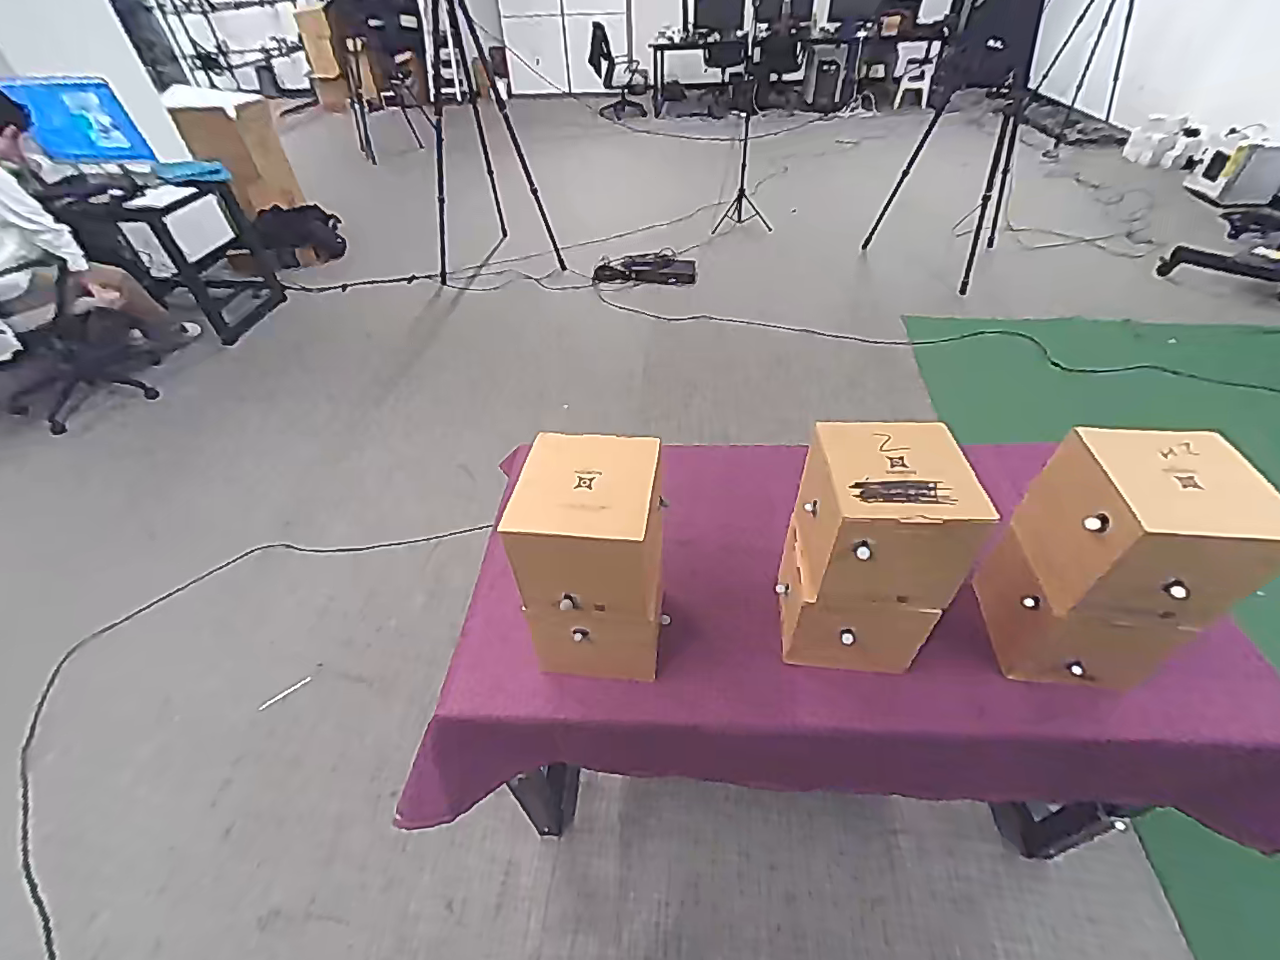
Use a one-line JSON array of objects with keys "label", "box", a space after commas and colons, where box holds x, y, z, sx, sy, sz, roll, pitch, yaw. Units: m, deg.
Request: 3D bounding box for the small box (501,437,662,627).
[{"label": "small box", "box": [-0.062, 0.065, 0.708, 0.168, 0.176, 0.179, 4, 44, 8]}]

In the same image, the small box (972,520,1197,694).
[{"label": "small box", "box": [0.617, 0.183, 0.786, 0.168, 0.176, 0.179, 4, 44, 8]}]

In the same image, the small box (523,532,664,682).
[{"label": "small box", "box": [-0.058, 0.187, 0.818, 0.179, 0.176, 0.168, 4, 43, 6]}]

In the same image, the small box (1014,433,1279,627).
[{"label": "small box", "box": [0.613, 0.063, 0.673, 0.168, 0.176, 0.179, 4, 44, 6]}]

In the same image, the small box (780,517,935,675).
[{"label": "small box", "box": [0.308, 0.174, 0.811, 0.179, 0.176, 0.168, 3, 44, 7]}]
